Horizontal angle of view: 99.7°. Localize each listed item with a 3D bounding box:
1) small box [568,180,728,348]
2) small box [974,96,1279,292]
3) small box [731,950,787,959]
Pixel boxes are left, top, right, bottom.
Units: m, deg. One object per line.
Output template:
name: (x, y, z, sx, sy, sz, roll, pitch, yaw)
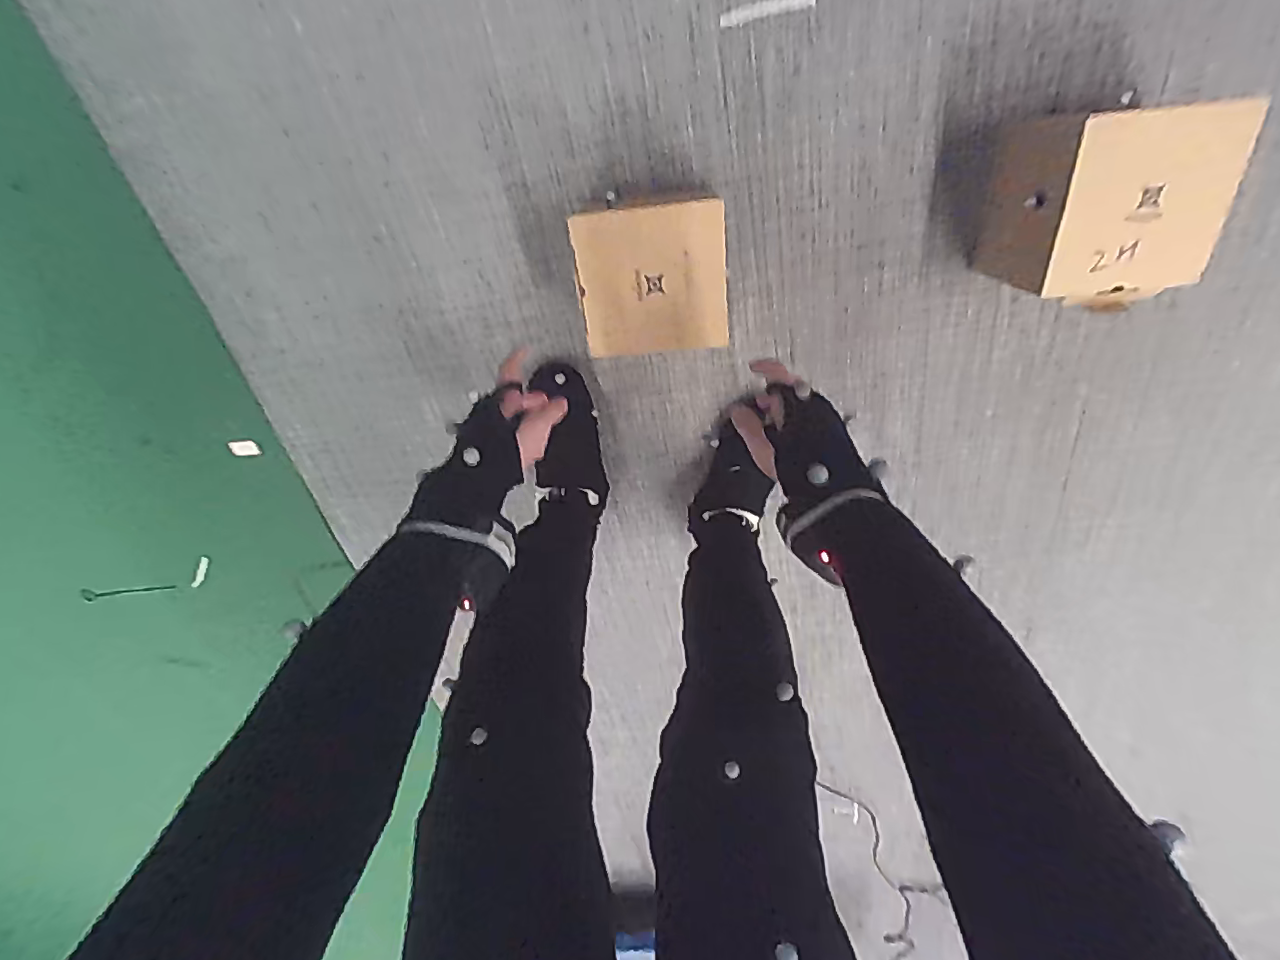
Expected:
small box: (0.019, -0.278, 0.690, 0.179, 0.176, 0.168, -3, 123, 5)
small box: (0.523, -0.329, 0.621, 0.168, 0.176, 0.179, 4, 124, 4)
small box: (0.367, 1.525, 1.602, 0.168, 0.176, 0.179, -9, 121, 9)
